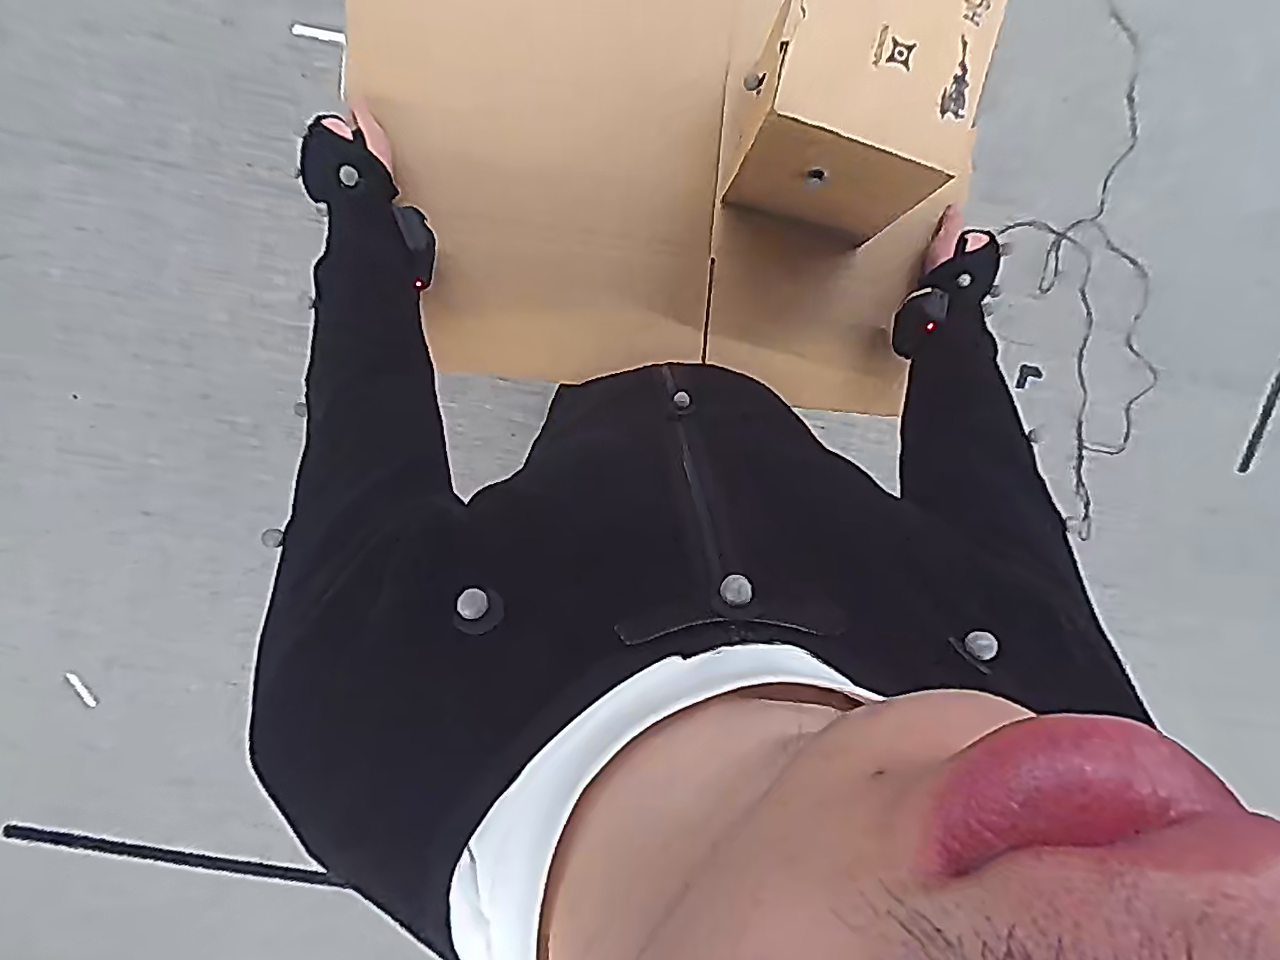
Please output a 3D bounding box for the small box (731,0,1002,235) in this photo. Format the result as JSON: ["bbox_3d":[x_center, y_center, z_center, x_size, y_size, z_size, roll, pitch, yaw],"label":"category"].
[{"bbox_3d":[0.207,-0.374,0.544,0.179,0.176,0.168,15,93,-5],"label":"small box"}]
